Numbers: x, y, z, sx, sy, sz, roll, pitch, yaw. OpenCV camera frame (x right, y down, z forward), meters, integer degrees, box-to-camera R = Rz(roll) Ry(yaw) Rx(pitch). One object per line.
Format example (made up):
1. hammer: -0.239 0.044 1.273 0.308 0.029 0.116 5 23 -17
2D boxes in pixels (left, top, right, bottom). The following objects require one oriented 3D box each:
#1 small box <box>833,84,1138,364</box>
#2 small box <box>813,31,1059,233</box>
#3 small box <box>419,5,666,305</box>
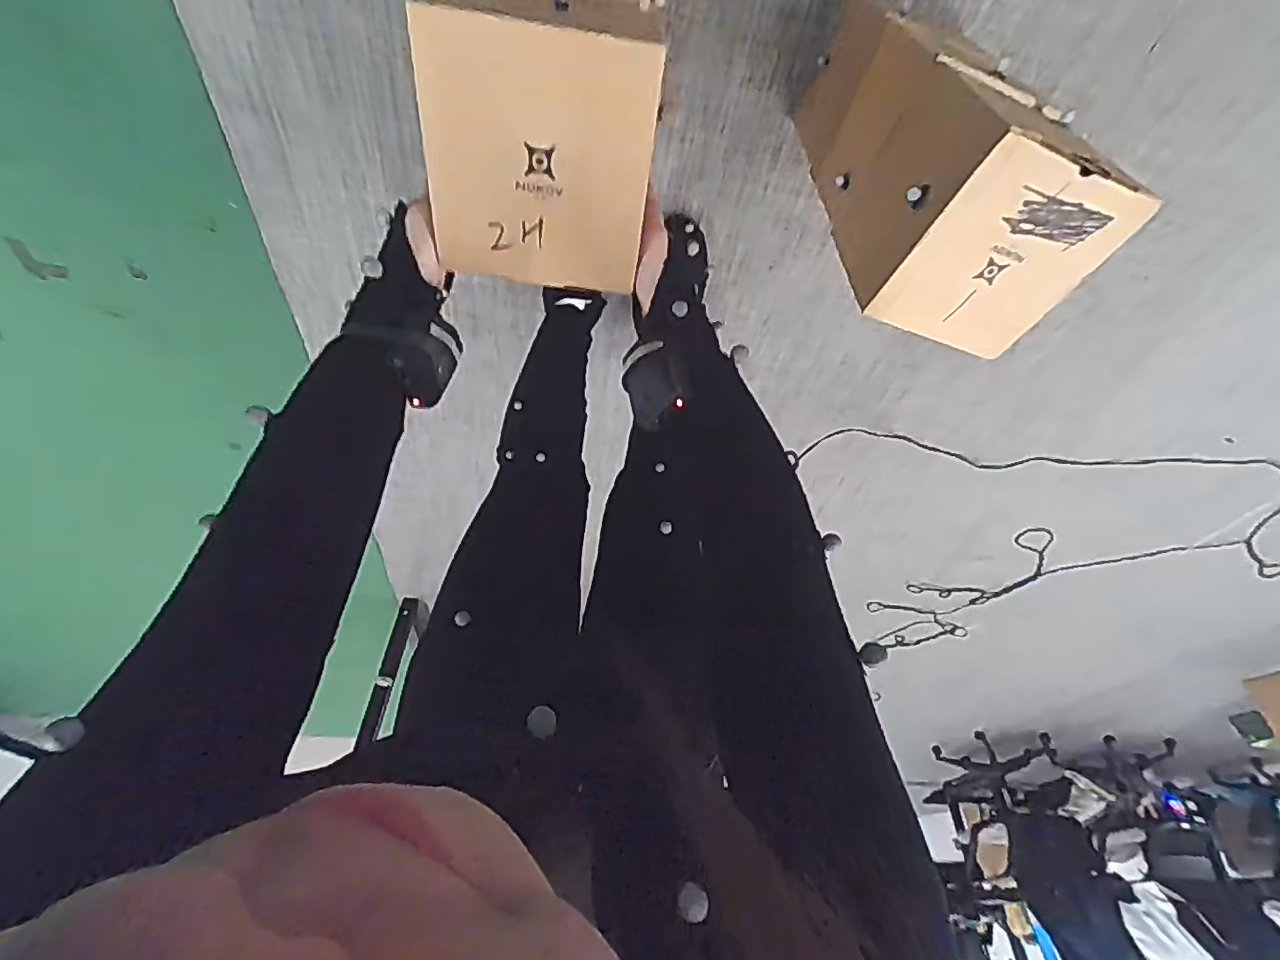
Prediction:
1. small box: 0.320 -0.255 0.547 0.168 0.176 0.179 14 141 -14
2. small box: 0.327 -0.388 0.644 0.168 0.176 0.179 13 140 -13
3. small box: -0.076 -0.281 0.470 0.168 0.176 0.179 6 137 -6
